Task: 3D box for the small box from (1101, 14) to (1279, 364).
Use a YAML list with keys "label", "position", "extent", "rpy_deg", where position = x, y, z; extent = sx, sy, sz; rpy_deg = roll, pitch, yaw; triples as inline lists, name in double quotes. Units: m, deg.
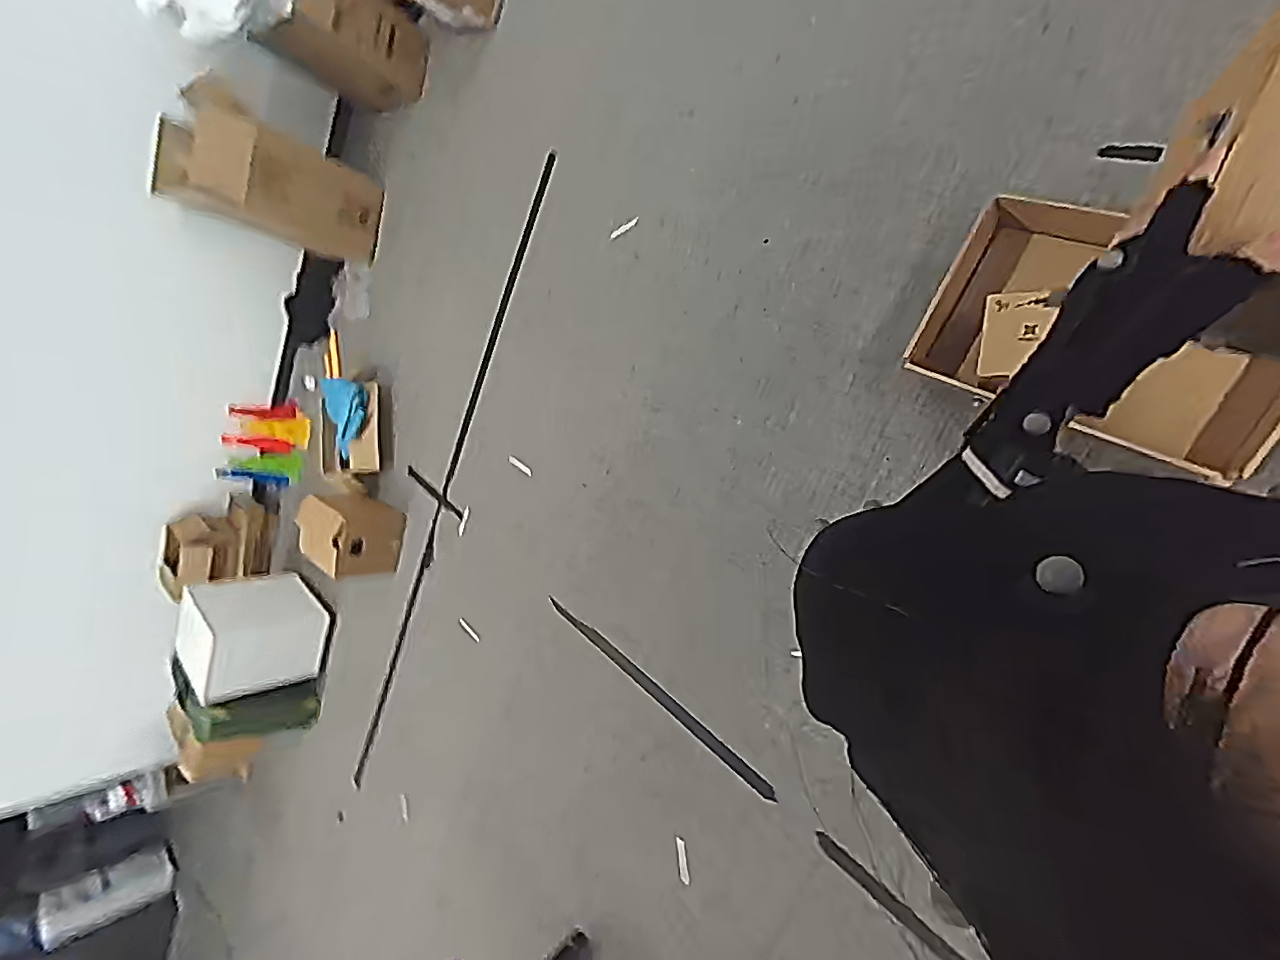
- label: "small box"
  position: [0.458, -0.192, 0.358]
  extent: [0.168, 0.176, 0.179]
  rpy_deg: [22, 99, 22]
